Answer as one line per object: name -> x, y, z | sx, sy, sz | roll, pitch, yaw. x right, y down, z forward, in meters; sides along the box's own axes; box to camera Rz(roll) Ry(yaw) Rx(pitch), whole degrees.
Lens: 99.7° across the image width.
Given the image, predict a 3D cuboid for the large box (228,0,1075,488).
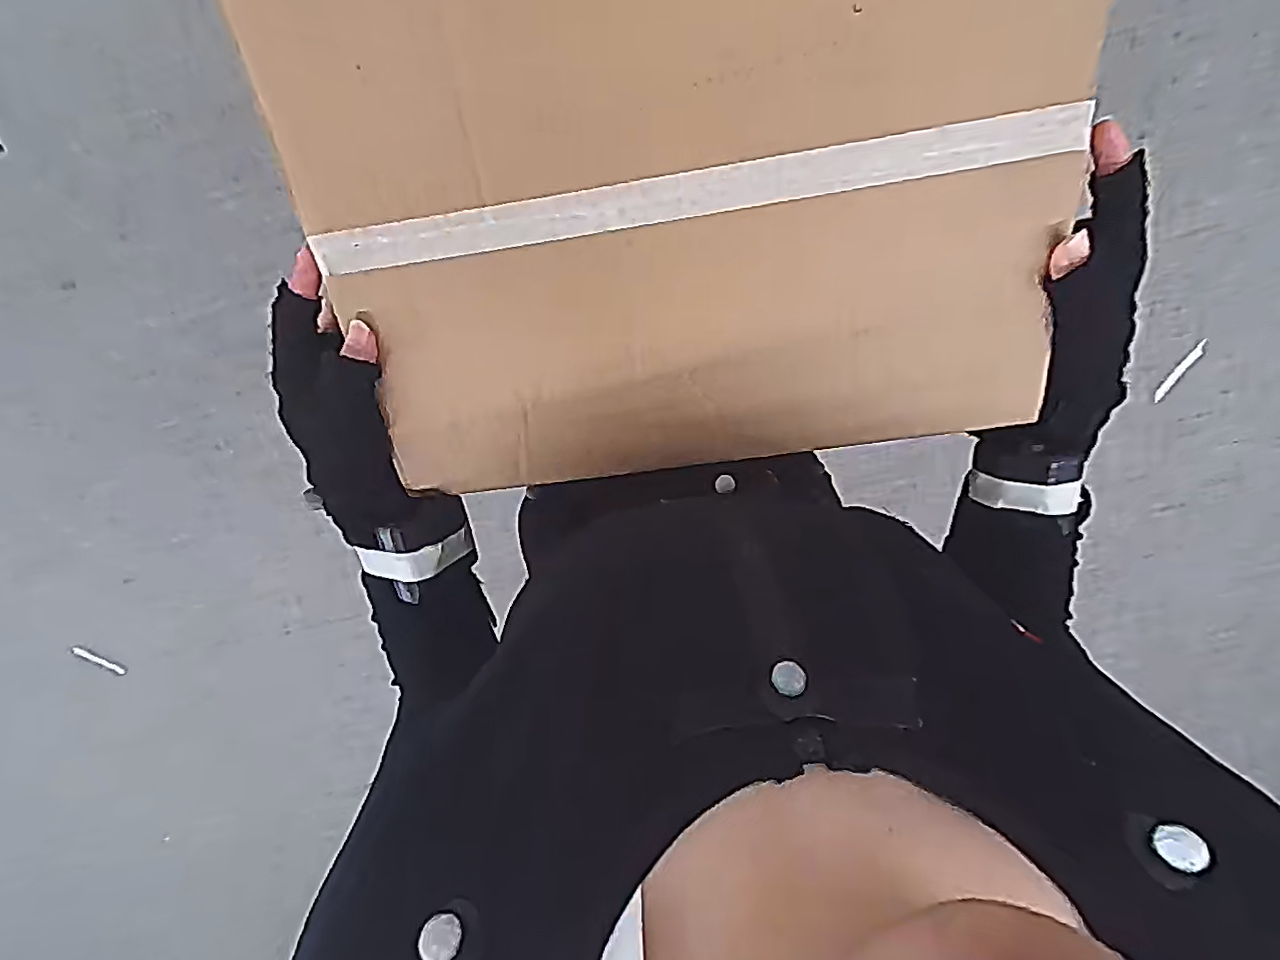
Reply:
large box -> 0.019, -0.222, 0.426 | 0.408, 0.320, 0.320 | -7, 115, 5
